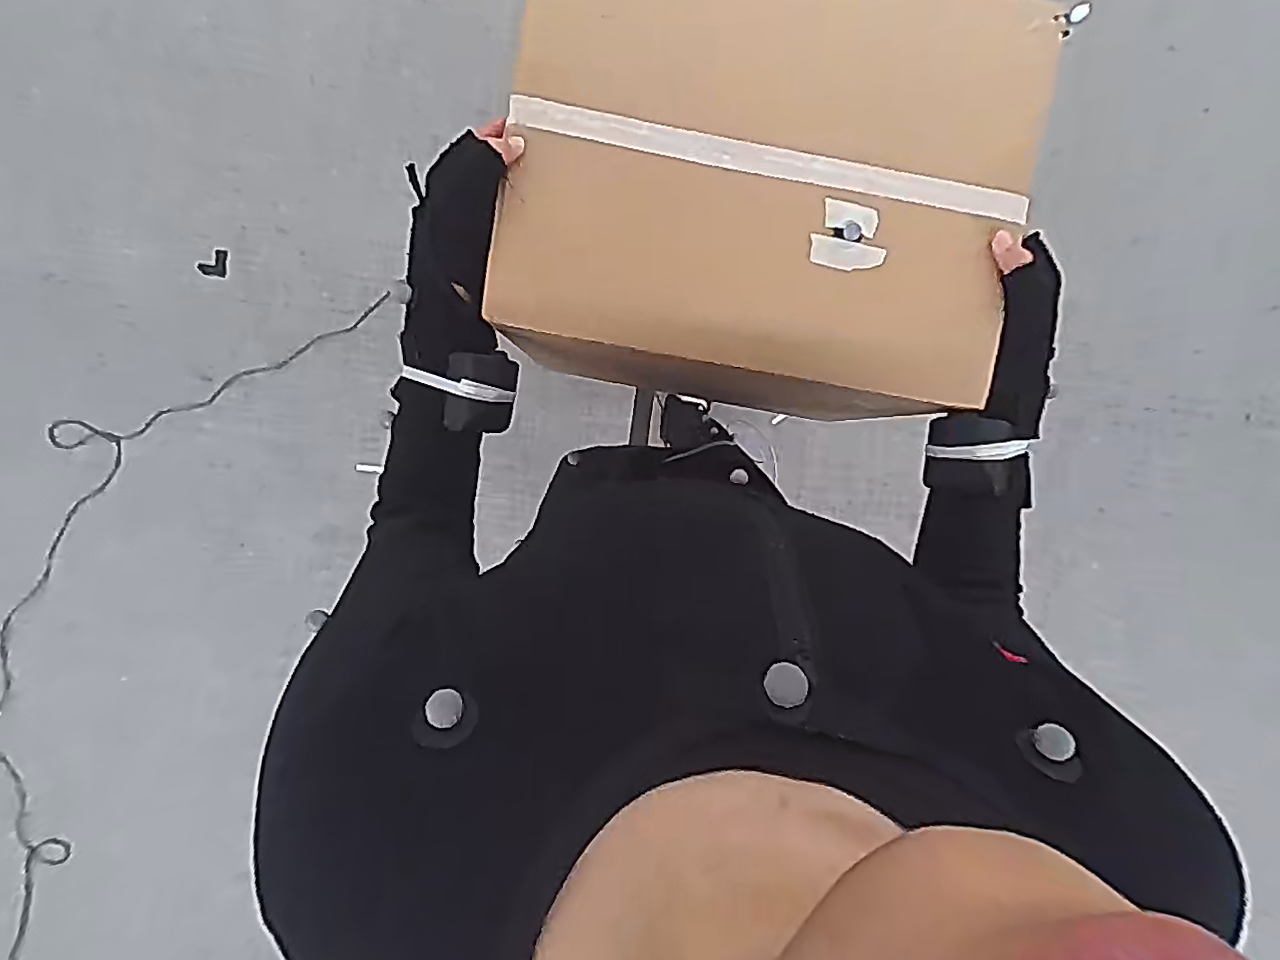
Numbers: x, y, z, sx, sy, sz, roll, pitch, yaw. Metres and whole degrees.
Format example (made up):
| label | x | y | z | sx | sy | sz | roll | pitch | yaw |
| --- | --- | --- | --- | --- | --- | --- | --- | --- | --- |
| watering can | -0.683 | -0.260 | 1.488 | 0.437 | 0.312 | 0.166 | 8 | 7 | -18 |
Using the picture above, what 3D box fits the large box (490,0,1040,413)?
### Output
| label | x | y | z | sx | sy | sz | roll | pitch | yaw |
| --- | --- | --- | --- | --- | --- | --- | --- | --- | --- |
| large box | 0.090 | -0.258 | 0.573 | 0.408 | 0.320 | 0.320 | 10 | 95 | -4 |
